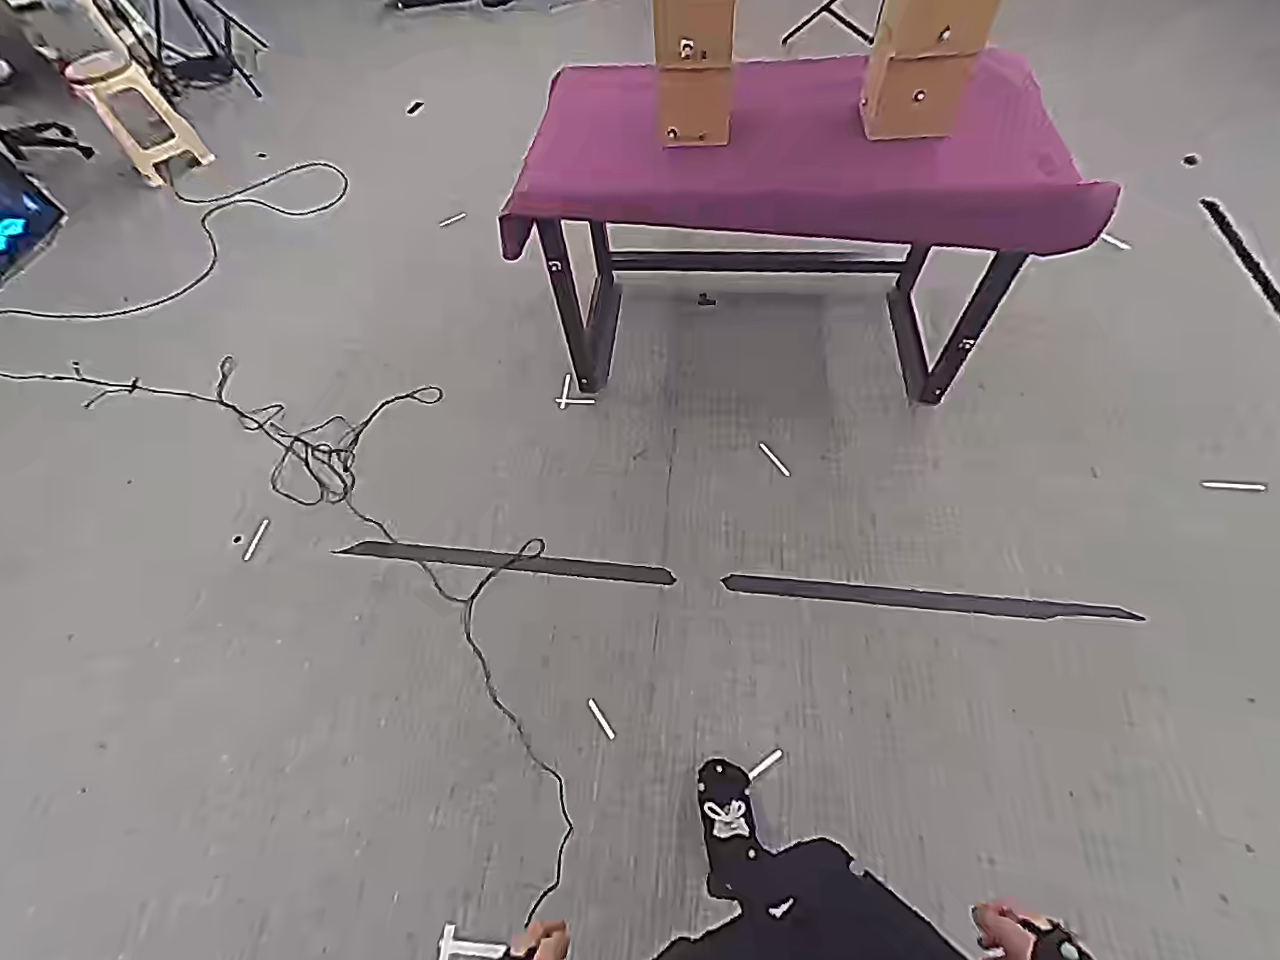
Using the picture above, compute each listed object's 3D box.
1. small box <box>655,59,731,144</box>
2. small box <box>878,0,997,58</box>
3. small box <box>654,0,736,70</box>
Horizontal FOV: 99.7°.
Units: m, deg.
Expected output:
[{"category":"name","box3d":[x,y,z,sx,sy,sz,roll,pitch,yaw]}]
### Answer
[{"category":"small box","box3d":[0.129,-0.918,1.272,0.168,0.176,0.179,3,59,7]},{"category":"small box","box3d":[0.597,-0.972,1.070,0.179,0.176,0.168,-1,59,5]},{"category":"small box","box3d":[0.117,-0.991,1.127,0.168,0.176,0.179,2,61,7]}]
